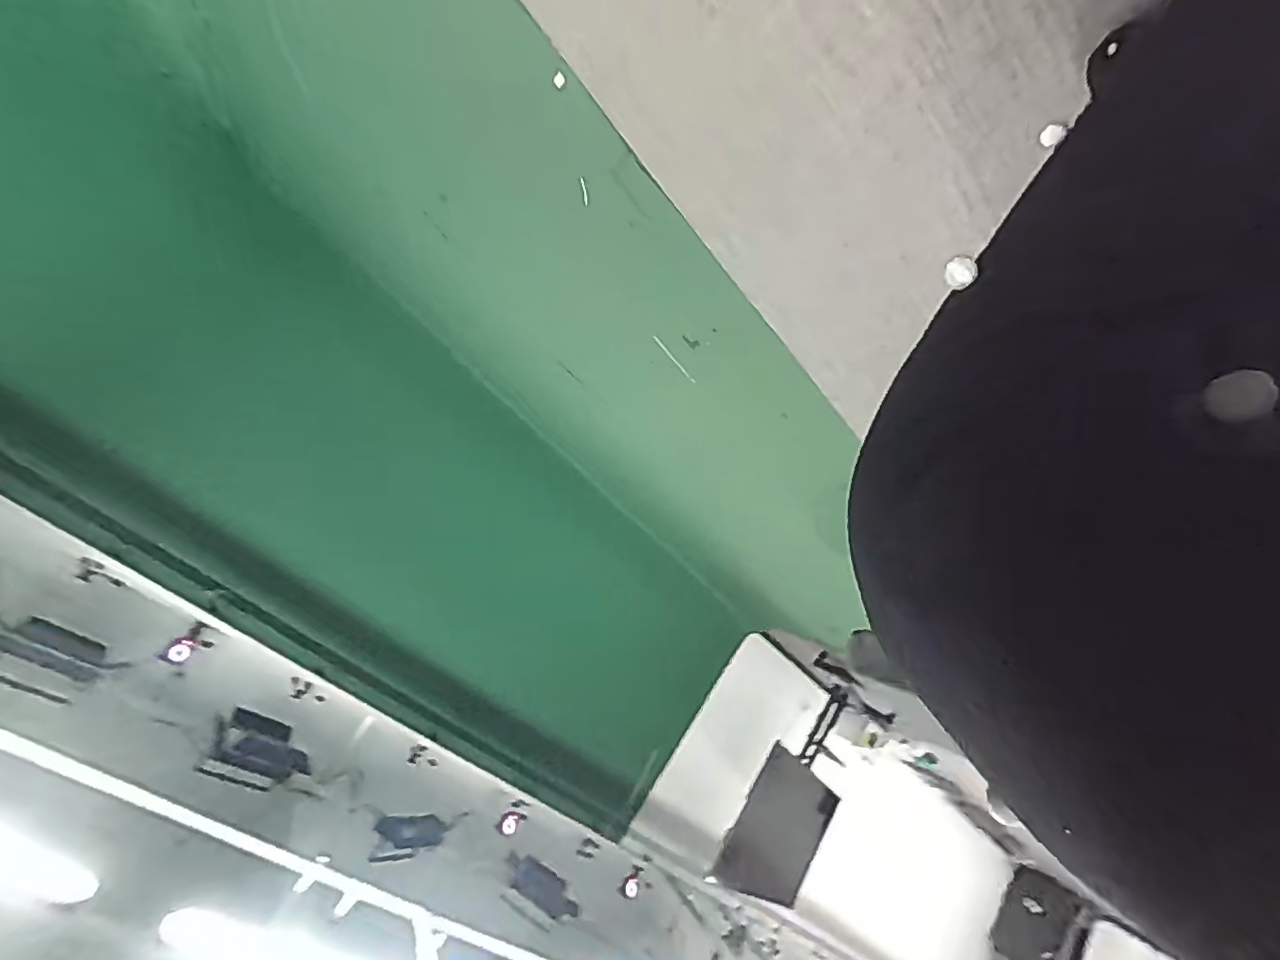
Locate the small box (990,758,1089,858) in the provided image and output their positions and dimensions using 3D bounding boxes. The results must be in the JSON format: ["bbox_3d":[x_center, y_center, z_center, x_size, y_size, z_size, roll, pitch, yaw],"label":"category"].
[{"bbox_3d":[1.212,0.986,1.641,0.179,0.176,0.168,45,161,-18],"label":"small box"}]
